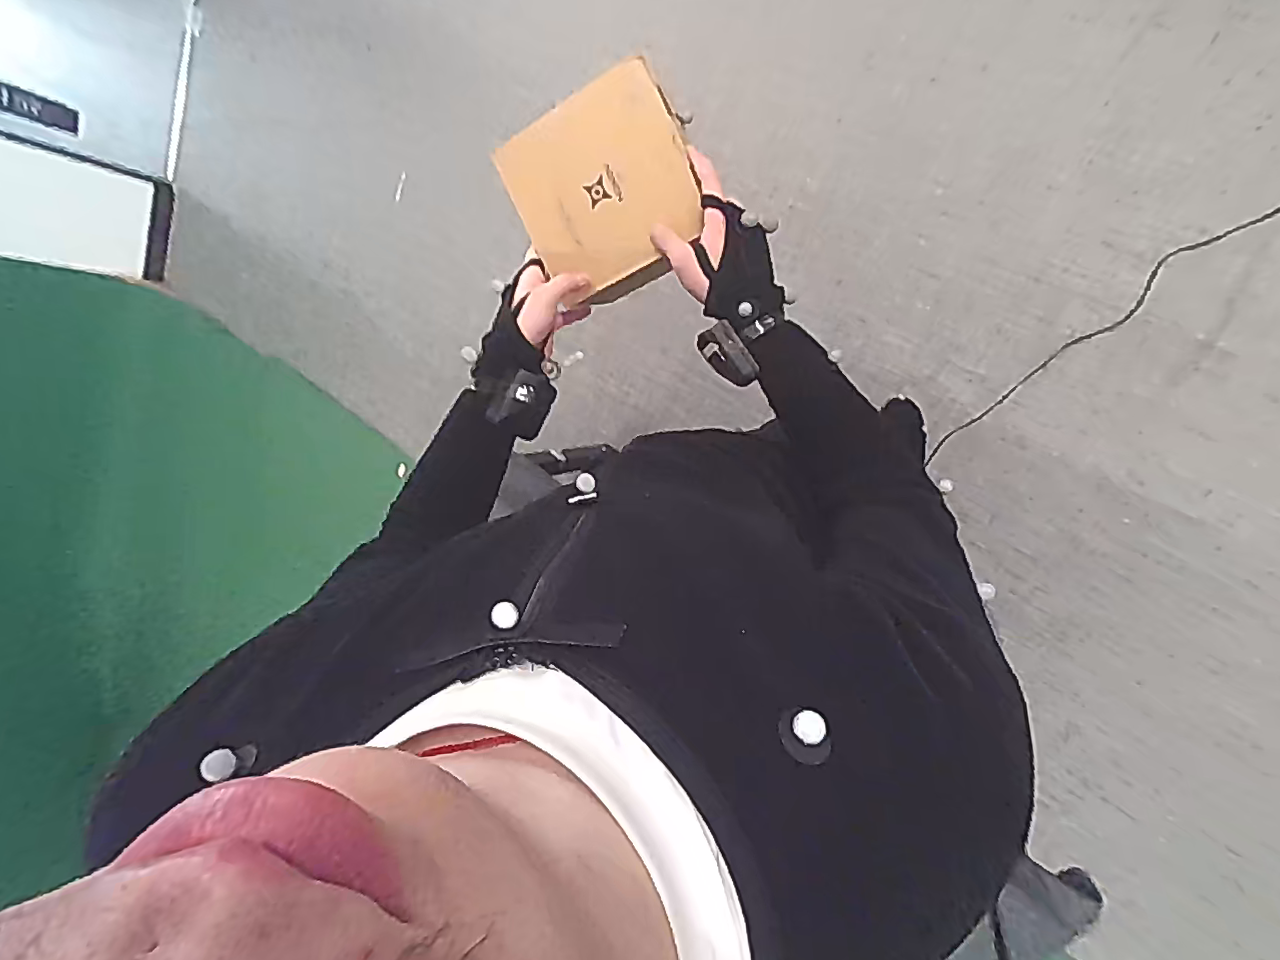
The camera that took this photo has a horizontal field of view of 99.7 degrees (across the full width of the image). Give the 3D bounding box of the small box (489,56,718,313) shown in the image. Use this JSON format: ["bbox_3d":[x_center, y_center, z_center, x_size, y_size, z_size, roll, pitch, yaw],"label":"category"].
[{"bbox_3d":[-0.023,-0.297,0.588,0.179,0.176,0.168,-20,101,20],"label":"small box"}]
